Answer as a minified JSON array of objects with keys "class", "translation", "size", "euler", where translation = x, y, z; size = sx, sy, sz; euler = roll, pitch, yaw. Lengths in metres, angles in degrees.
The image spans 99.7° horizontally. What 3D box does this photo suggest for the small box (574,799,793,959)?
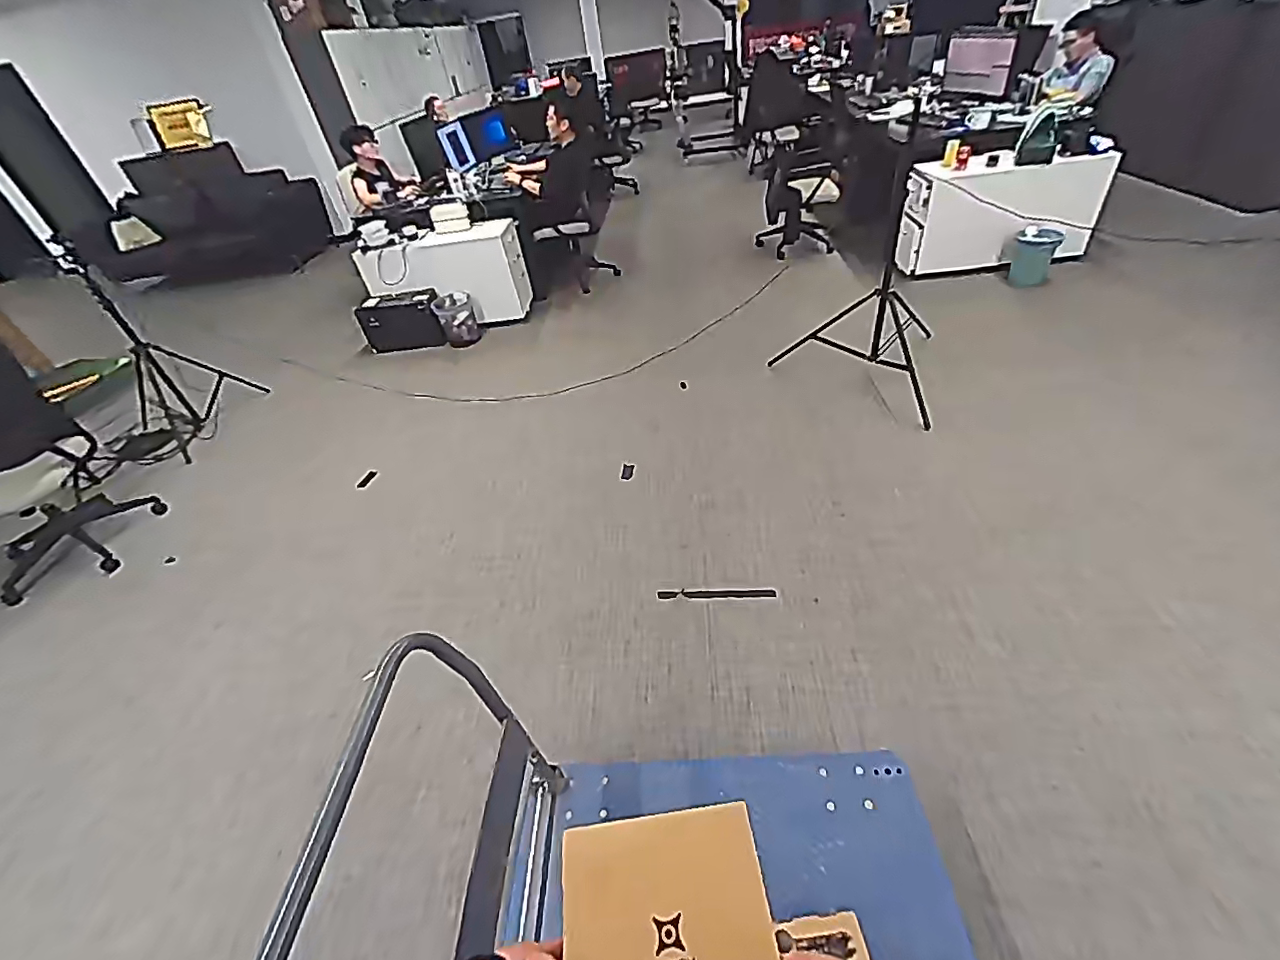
[{"class":"small box","translation":[0.035,0.406,0.468],"size":[0.168,0.176,0.179],"euler":[-7,46,-2]}]
